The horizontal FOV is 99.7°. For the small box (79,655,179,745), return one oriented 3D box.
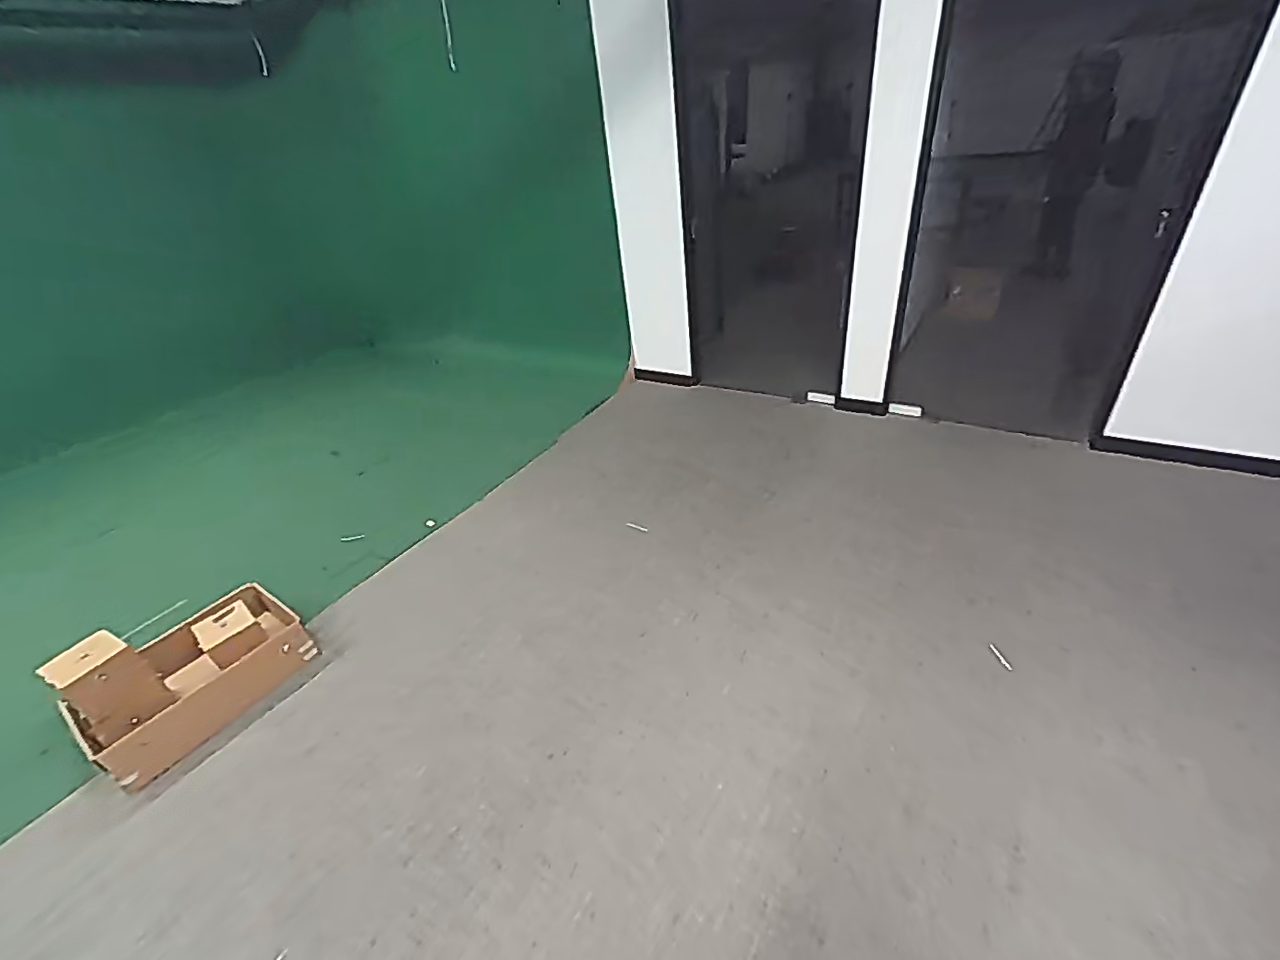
[{"bbox_3d":[-1.649,0.709,1.738,0.168,0.176,0.179,19,42,31],"label":"small box"}]

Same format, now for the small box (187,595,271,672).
[{"bbox_3d":[-1.474,0.554,1.943,0.179,0.176,0.168,25,45,35],"label":"small box"}]

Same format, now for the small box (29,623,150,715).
[{"bbox_3d":[-1.665,0.575,1.643,0.168,0.176,0.179,13,36,23],"label":"small box"}]
